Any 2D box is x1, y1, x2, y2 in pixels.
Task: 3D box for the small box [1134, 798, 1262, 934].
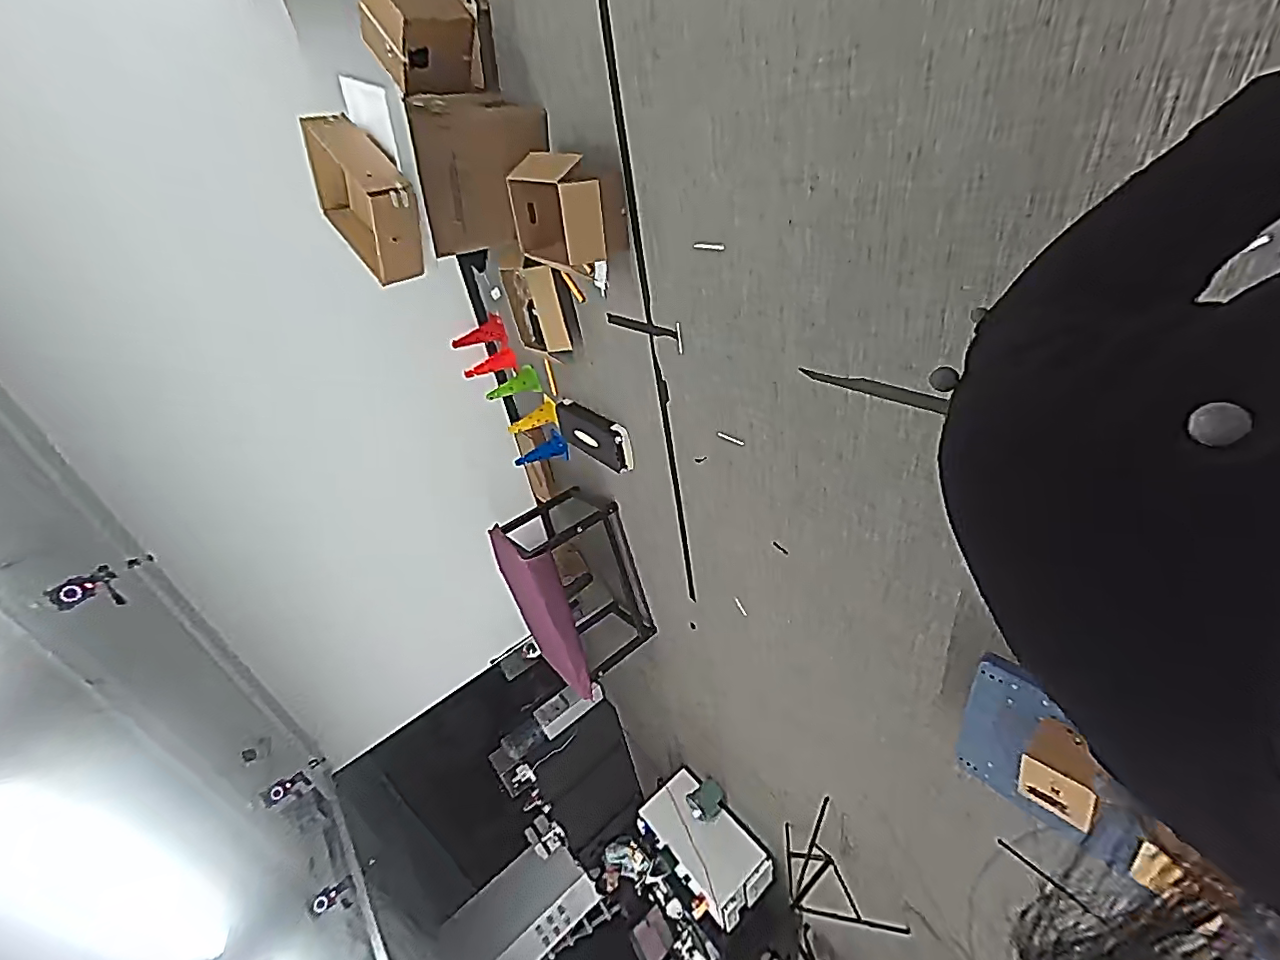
[{"bbox_3d":[1.352,0.928,1.312,0.168,0.176,0.179,25,136,48],"label":"small box"}]
